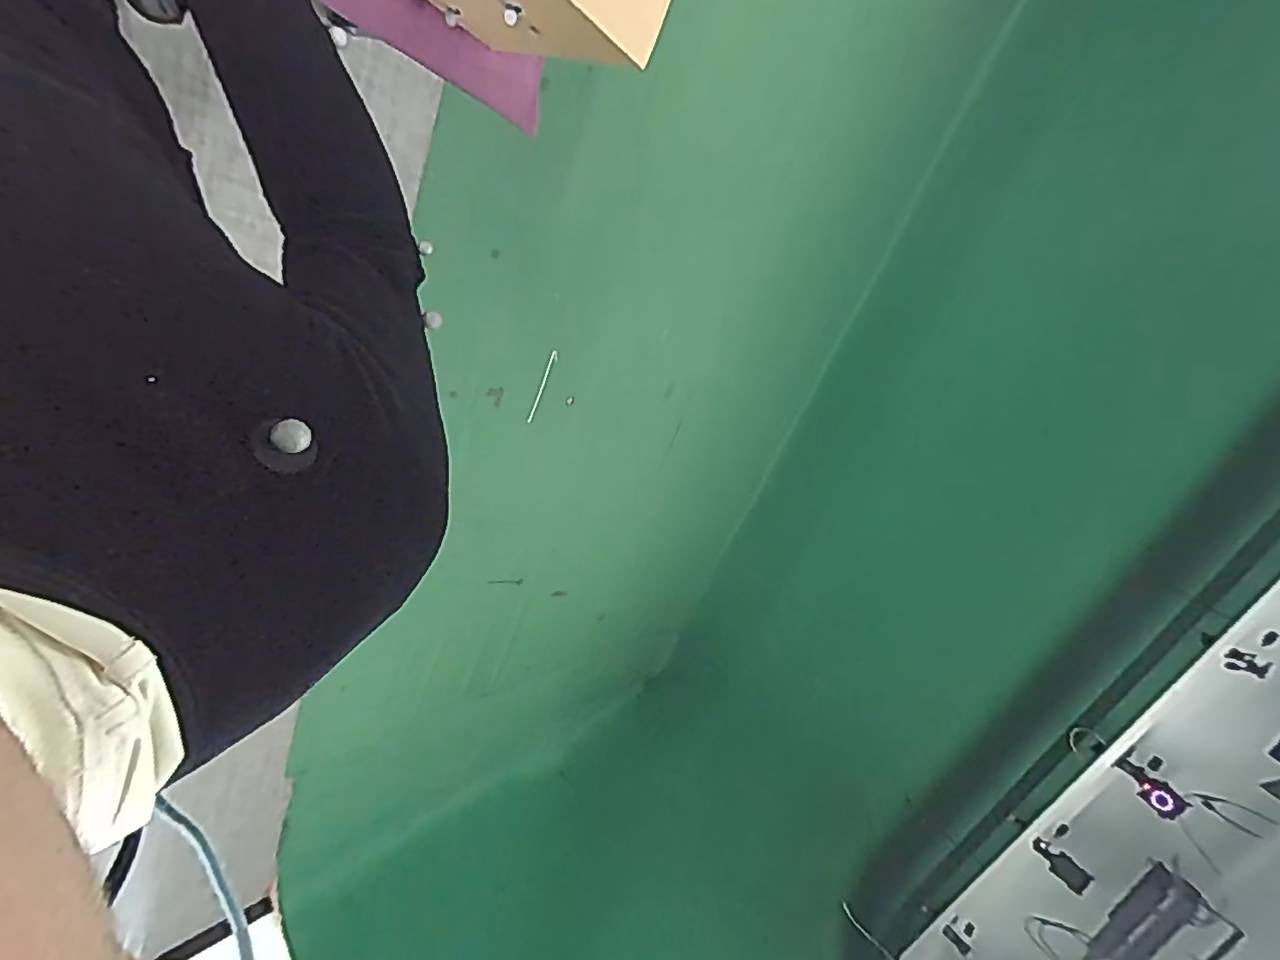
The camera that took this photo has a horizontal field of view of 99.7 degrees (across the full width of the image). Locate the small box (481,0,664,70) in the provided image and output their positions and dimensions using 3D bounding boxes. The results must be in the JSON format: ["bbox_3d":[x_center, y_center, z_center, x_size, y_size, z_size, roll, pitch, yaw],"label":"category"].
[{"bbox_3d":[-0.074,-0.577,0.564,0.168,0.176,0.179,2,119,-51],"label":"small box"}]

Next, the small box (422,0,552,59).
[{"bbox_3d":[-0.188,-0.656,0.651,0.179,0.176,0.168,1,119,-52],"label":"small box"}]
